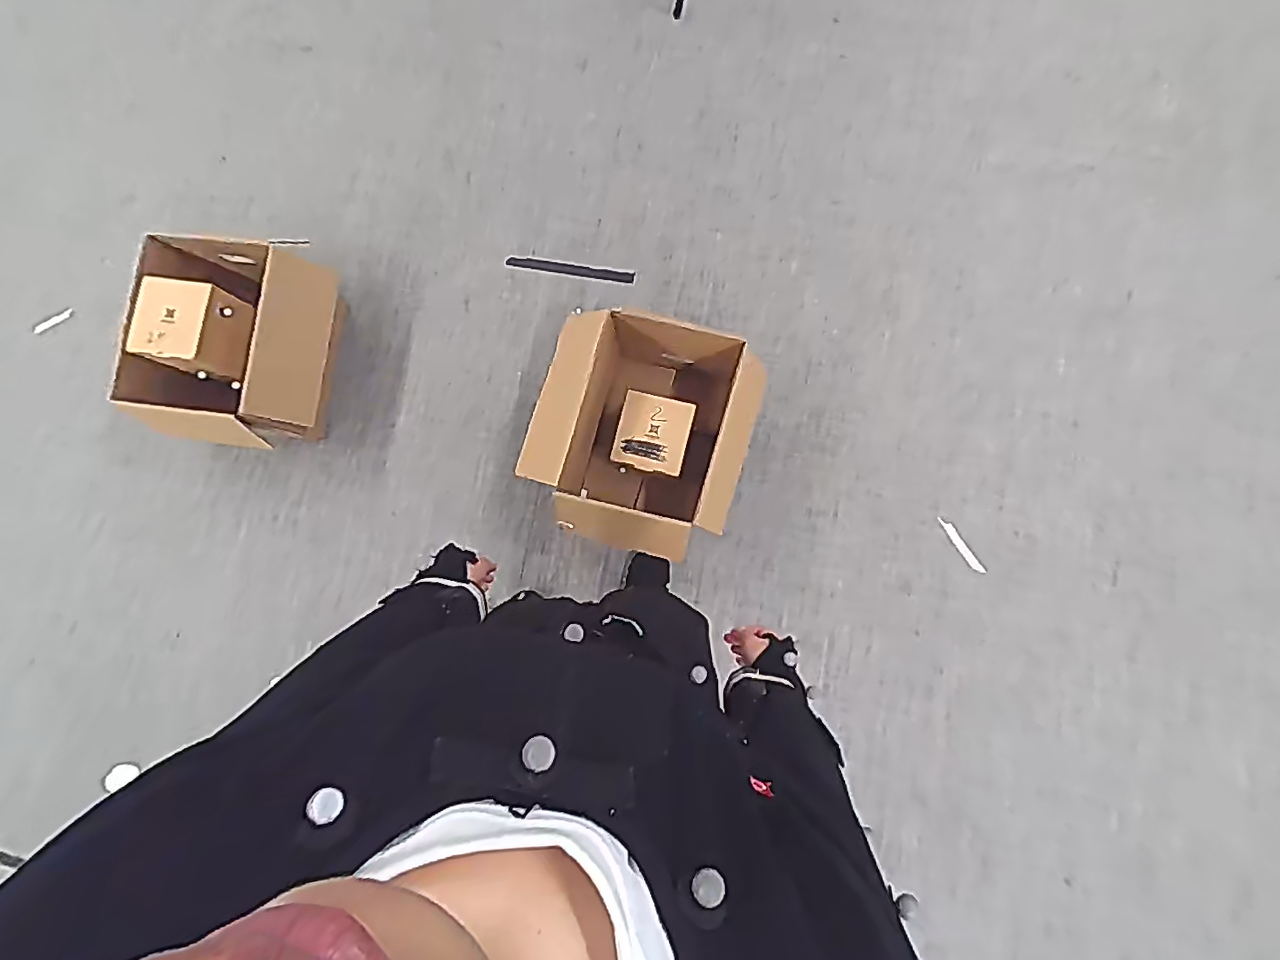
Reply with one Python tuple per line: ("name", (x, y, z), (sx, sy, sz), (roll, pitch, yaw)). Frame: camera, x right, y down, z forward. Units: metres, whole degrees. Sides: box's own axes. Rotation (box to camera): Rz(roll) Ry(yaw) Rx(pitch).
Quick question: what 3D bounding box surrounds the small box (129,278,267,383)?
("small box", (-1.015, -0.342, 1.259), (0.168, 0.176, 0.179), (8, 84, 5))
